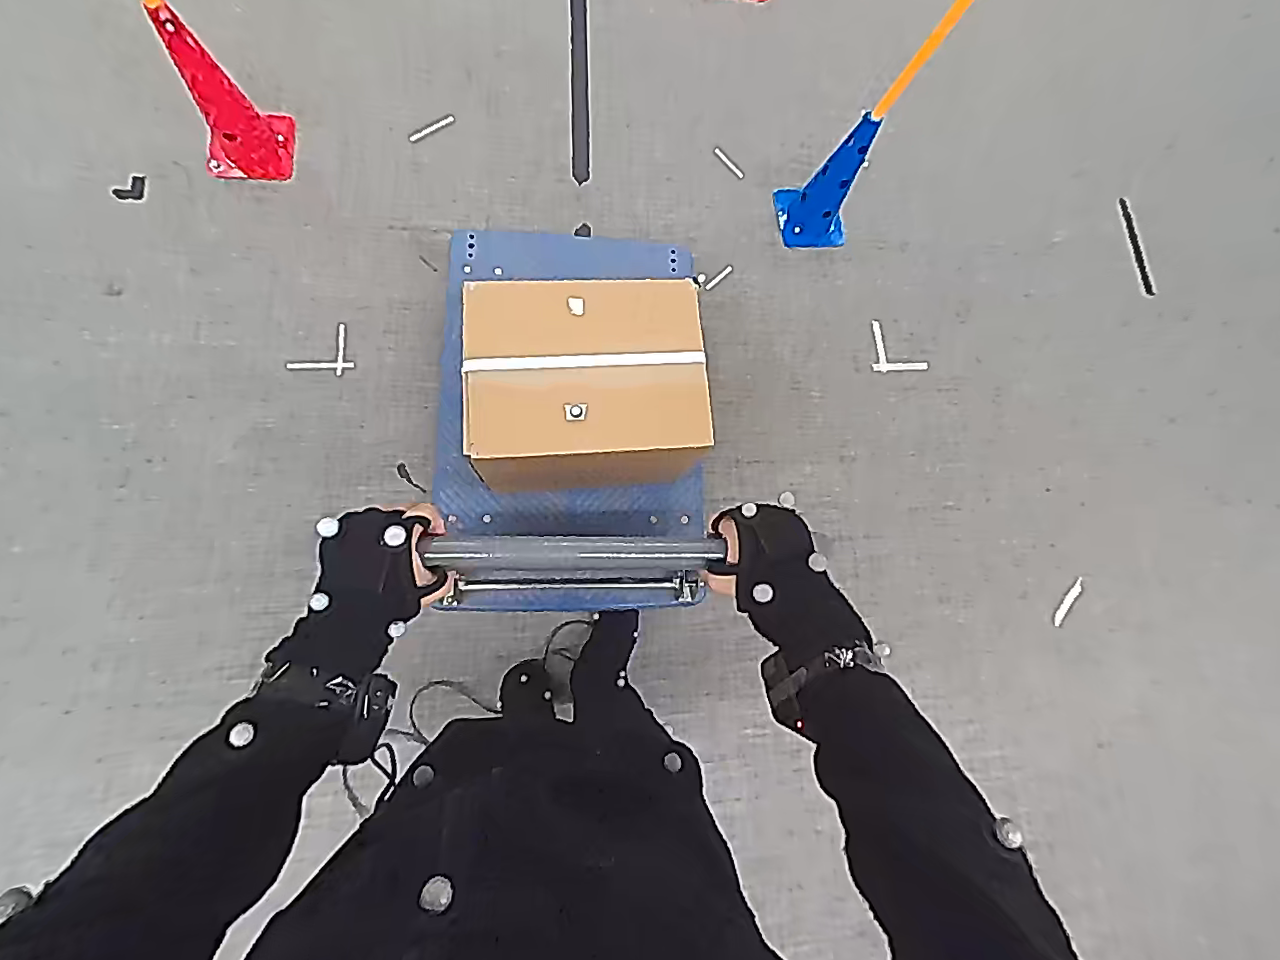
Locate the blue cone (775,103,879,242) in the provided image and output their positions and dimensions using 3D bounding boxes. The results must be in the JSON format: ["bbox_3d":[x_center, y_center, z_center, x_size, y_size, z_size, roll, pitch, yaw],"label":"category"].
[{"bbox_3d":[0.533,-0.835,1.467,0.193,0.380,0.192,-5,78,-10],"label":"blue cone"}]
